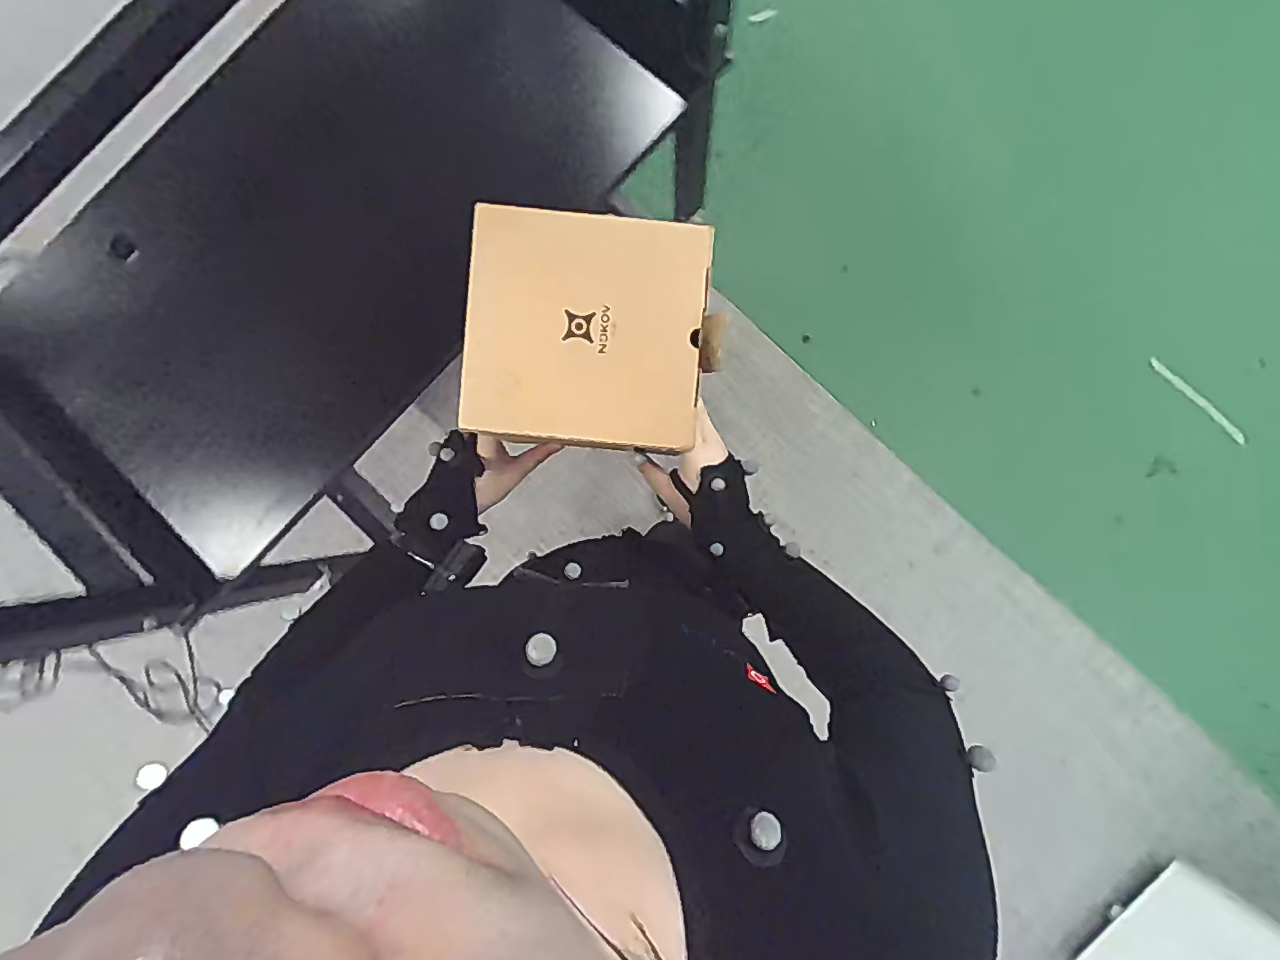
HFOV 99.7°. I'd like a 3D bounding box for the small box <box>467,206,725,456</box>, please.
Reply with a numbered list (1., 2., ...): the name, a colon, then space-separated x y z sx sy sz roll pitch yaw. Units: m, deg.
1. small box: -0.034 -0.111 0.474 0.179 0.176 0.168 6 91 -2
